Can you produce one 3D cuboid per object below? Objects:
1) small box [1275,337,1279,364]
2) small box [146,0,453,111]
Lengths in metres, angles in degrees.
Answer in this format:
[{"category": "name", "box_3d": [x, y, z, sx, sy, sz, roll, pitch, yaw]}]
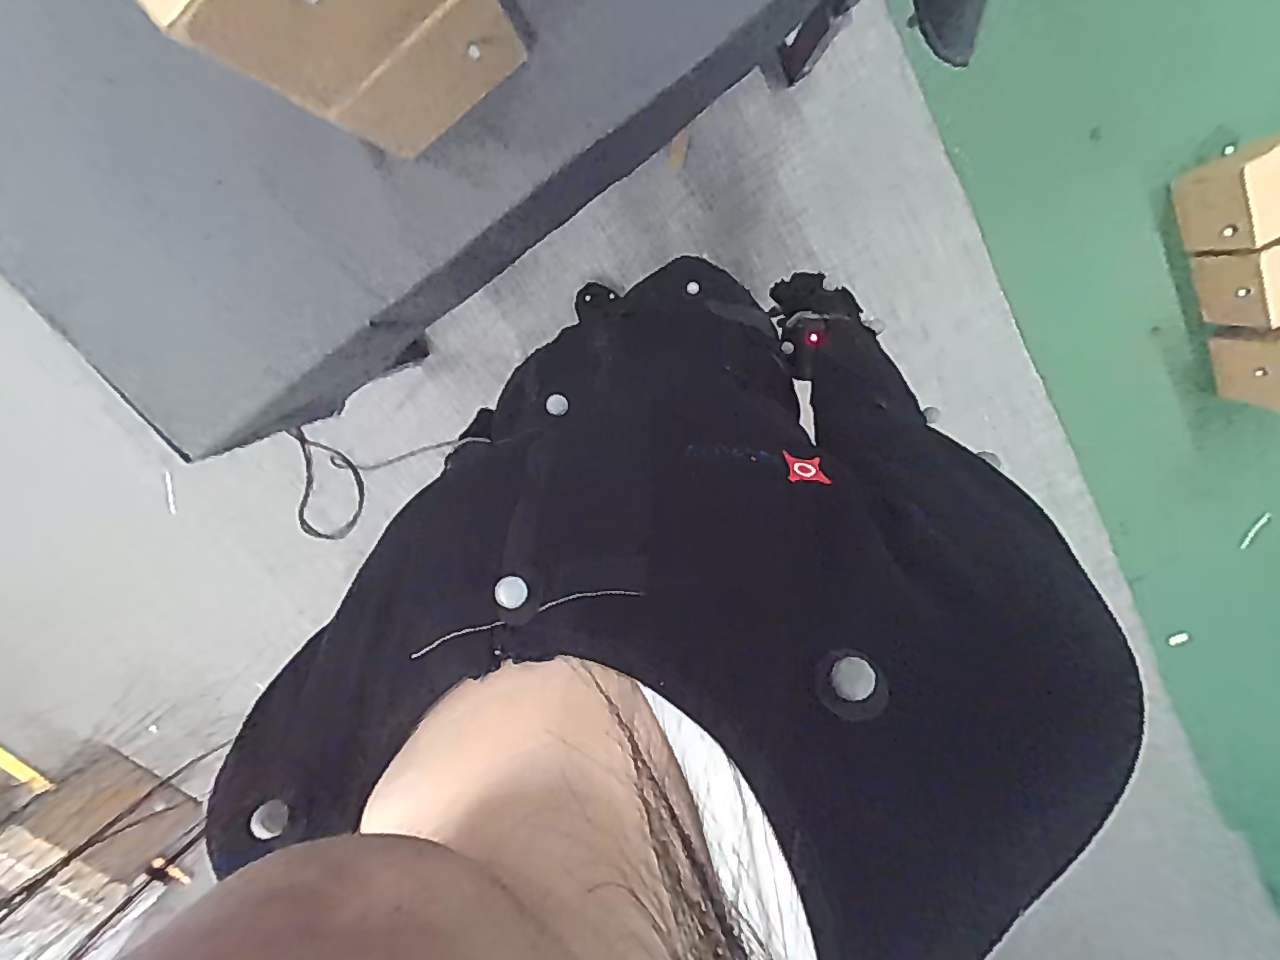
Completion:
[{"category": "small box", "box_3d": [1.493, -0.248, 1.112, 0.168, 0.176, 0.179, -31, 107, 12]}, {"category": "small box", "box_3d": [-0.245, -0.394, 0.356, 0.179, 0.176, 0.168, -33, 106, 13]}]
